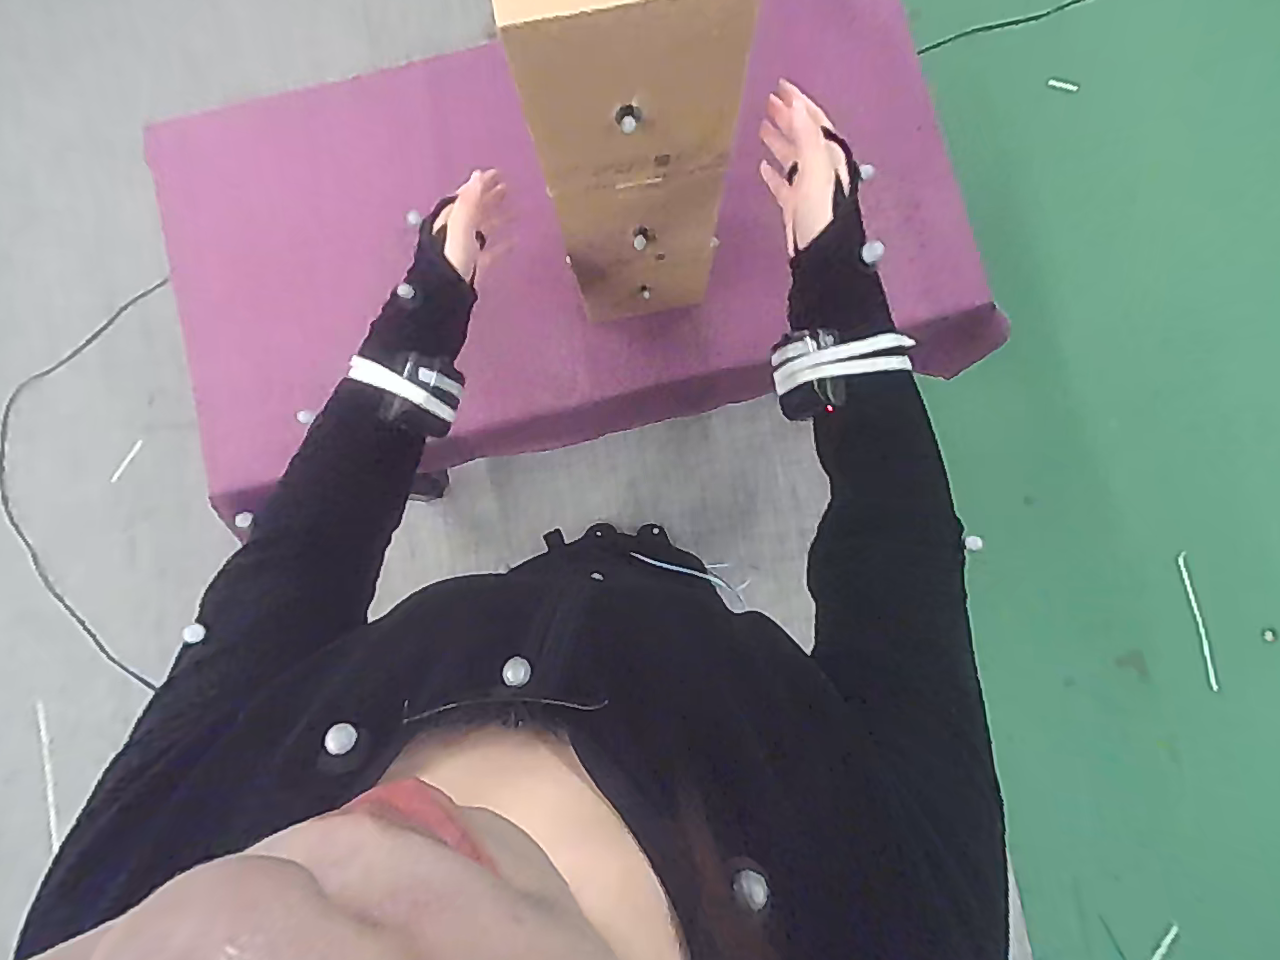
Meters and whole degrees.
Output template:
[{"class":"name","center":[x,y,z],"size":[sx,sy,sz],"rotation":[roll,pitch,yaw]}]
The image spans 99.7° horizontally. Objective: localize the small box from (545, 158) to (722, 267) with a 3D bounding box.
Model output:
[{"class":"small box","center":[-0.012,-0.348,0.583],"size":[0.168,0.176,0.179],"rotation":[-8,86,0]}]

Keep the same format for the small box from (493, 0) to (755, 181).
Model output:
[{"class":"small box","center":[-0.016,-0.360,0.417],"size":[0.168,0.176,0.179],"rotation":[-9,85,0]}]
